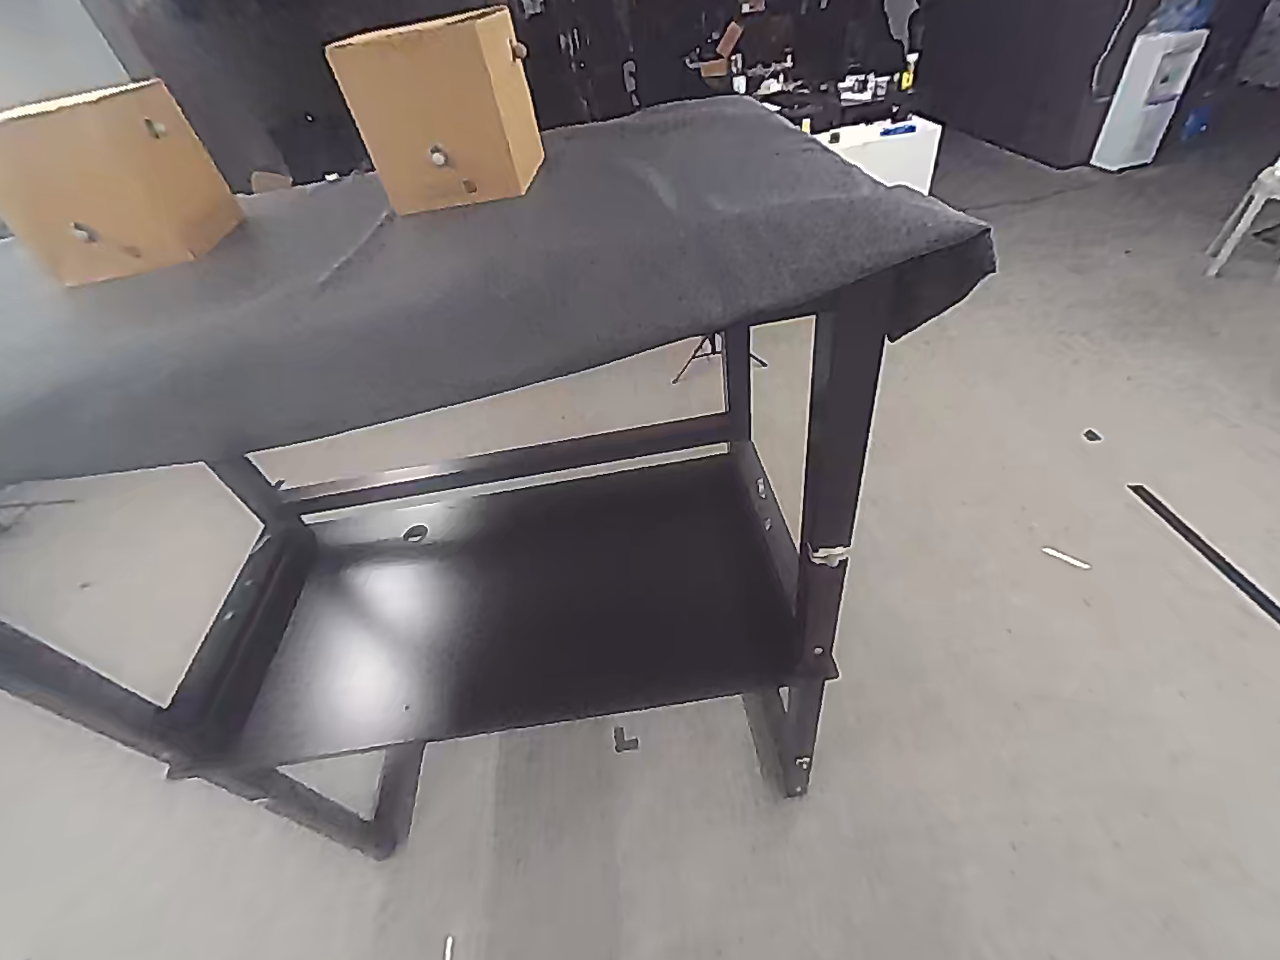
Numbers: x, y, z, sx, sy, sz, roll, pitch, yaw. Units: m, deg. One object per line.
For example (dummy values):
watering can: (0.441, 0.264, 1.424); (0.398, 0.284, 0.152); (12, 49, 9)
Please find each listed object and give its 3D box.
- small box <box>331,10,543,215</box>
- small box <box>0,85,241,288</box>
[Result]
small box: (-0.225, -0.445, 0.660); (0.168, 0.176, 0.179); (-6, 44, 7)
small box: (-0.640, -0.359, 0.663); (0.168, 0.176, 0.179); (-14, 44, -2)
